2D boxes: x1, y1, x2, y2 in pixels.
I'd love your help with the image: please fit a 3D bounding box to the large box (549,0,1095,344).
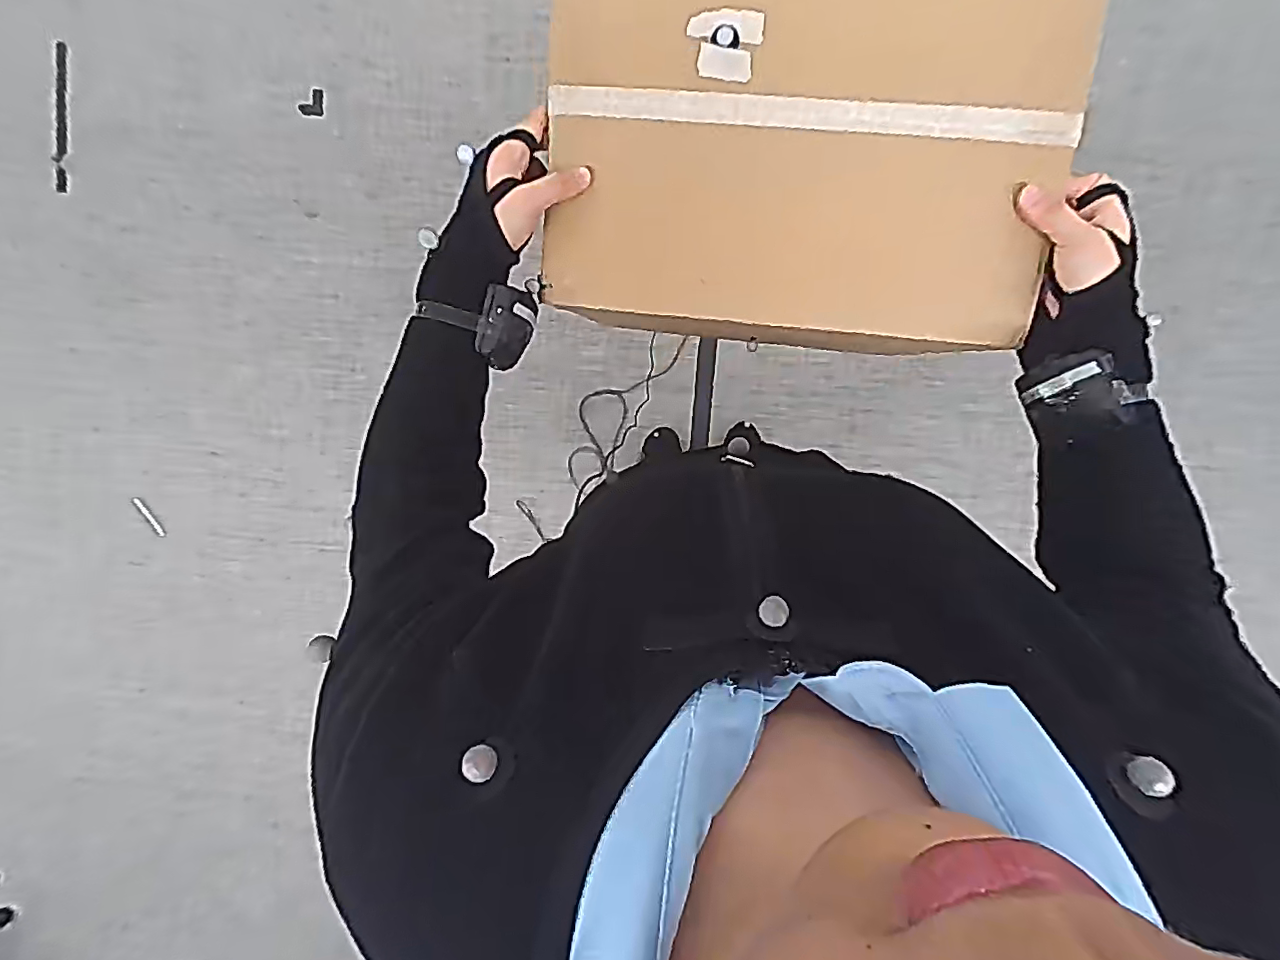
[{"bbox_3d":[0.146,-0.317,0.575,0.408,0.320,0.320,7,102,6],"label":"large box"}]
